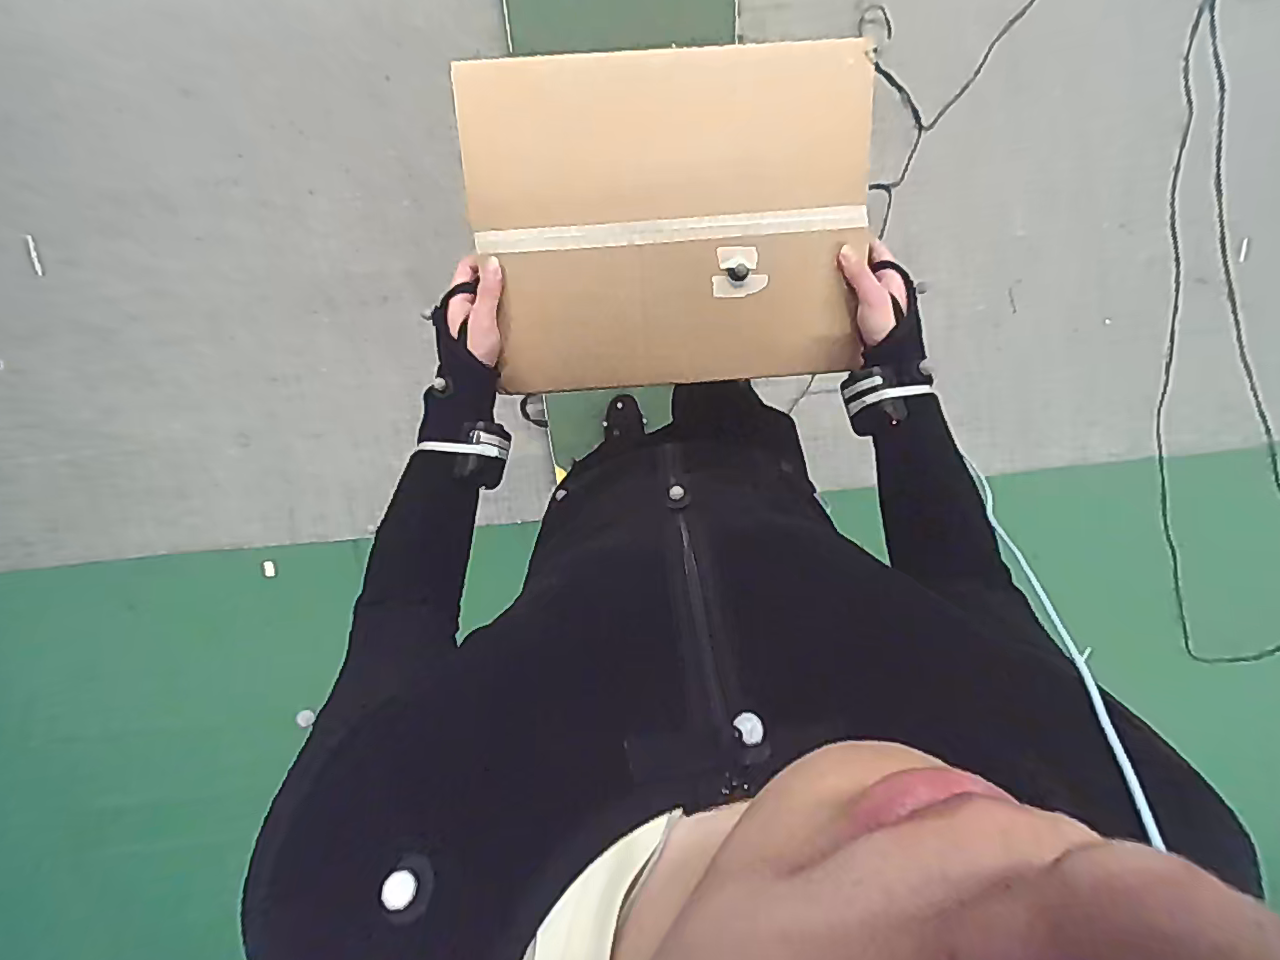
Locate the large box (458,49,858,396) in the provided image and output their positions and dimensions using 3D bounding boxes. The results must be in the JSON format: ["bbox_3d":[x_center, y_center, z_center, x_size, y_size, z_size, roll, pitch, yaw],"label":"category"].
[{"bbox_3d":[0.023,-0.299,0.712,0.408,0.320,0.320,-5,107,-2],"label":"large box"}]
